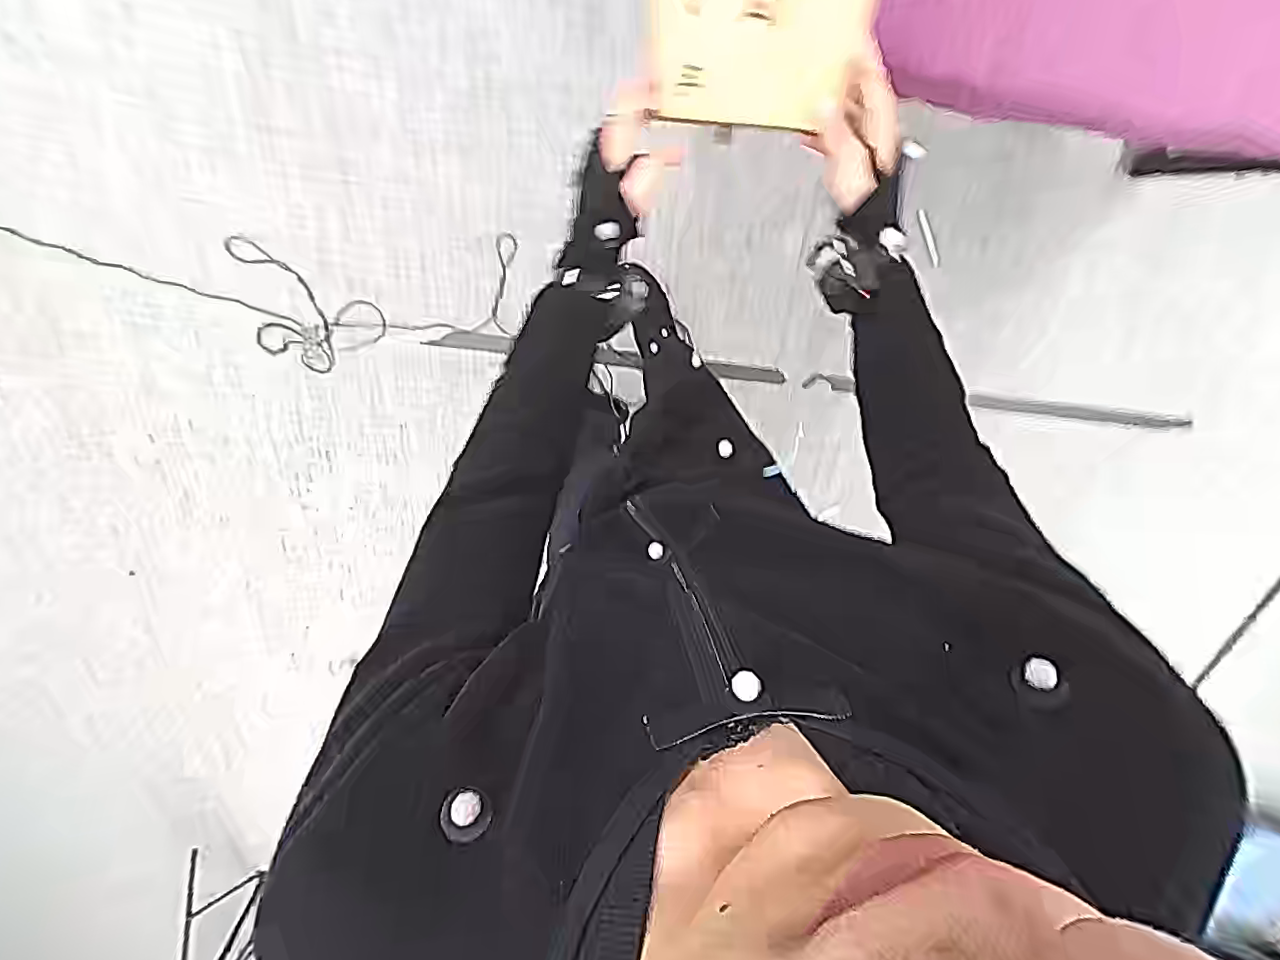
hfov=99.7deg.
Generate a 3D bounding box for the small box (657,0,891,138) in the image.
[{"bbox_3d":[0.117,-0.436,0.517,0.179,0.176,0.168,3,123,-6],"label":"small box"}]
